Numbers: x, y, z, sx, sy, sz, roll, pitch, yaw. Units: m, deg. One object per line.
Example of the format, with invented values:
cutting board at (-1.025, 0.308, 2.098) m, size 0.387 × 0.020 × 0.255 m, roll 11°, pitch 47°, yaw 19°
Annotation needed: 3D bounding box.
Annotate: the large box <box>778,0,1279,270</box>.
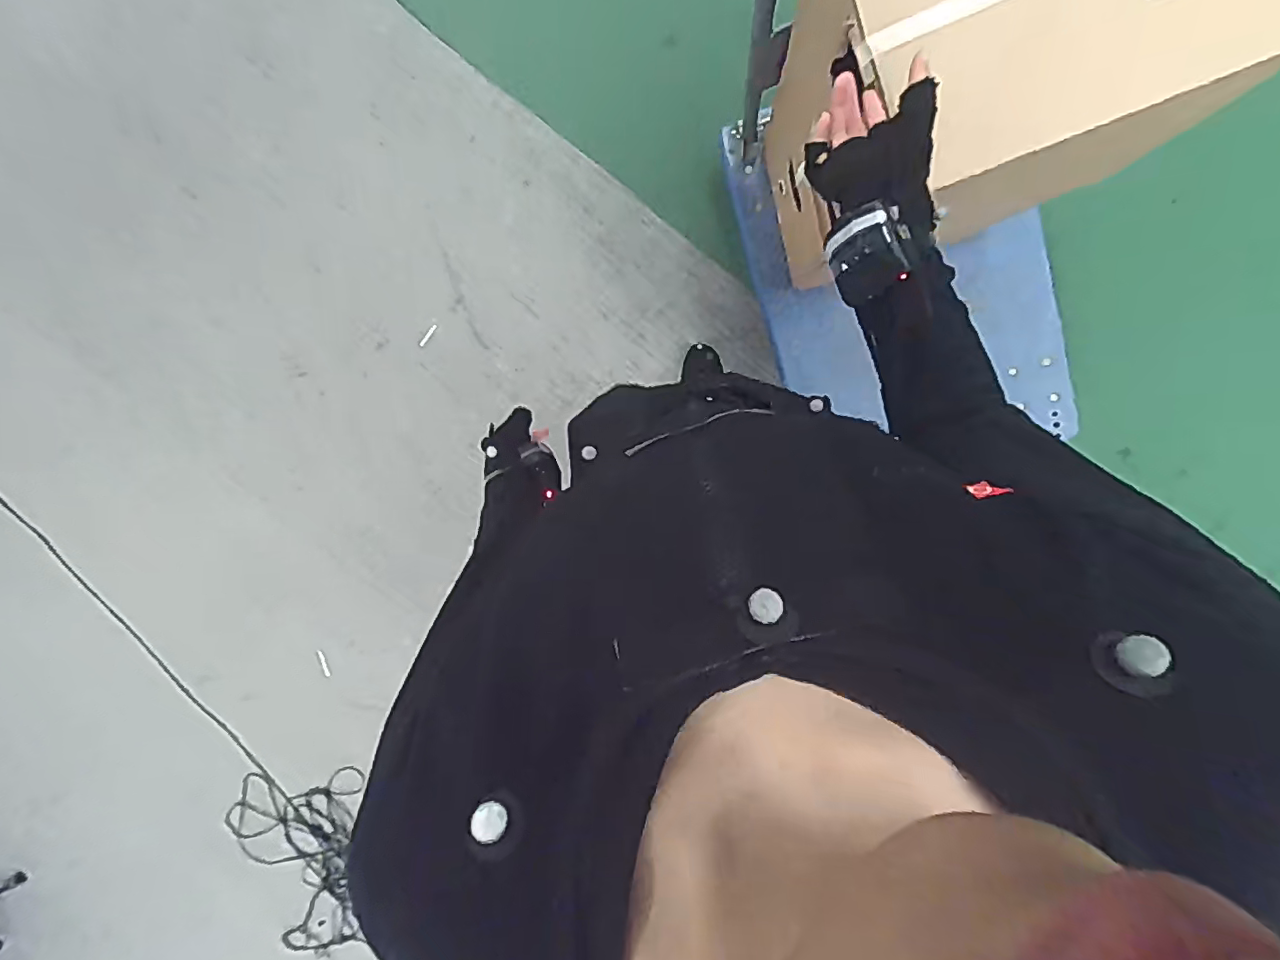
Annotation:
large box at (0.426, -0.516, 0.666) m, size 0.408 × 0.320 × 0.320 m, roll -19°, pitch 94°, yaw 9°
